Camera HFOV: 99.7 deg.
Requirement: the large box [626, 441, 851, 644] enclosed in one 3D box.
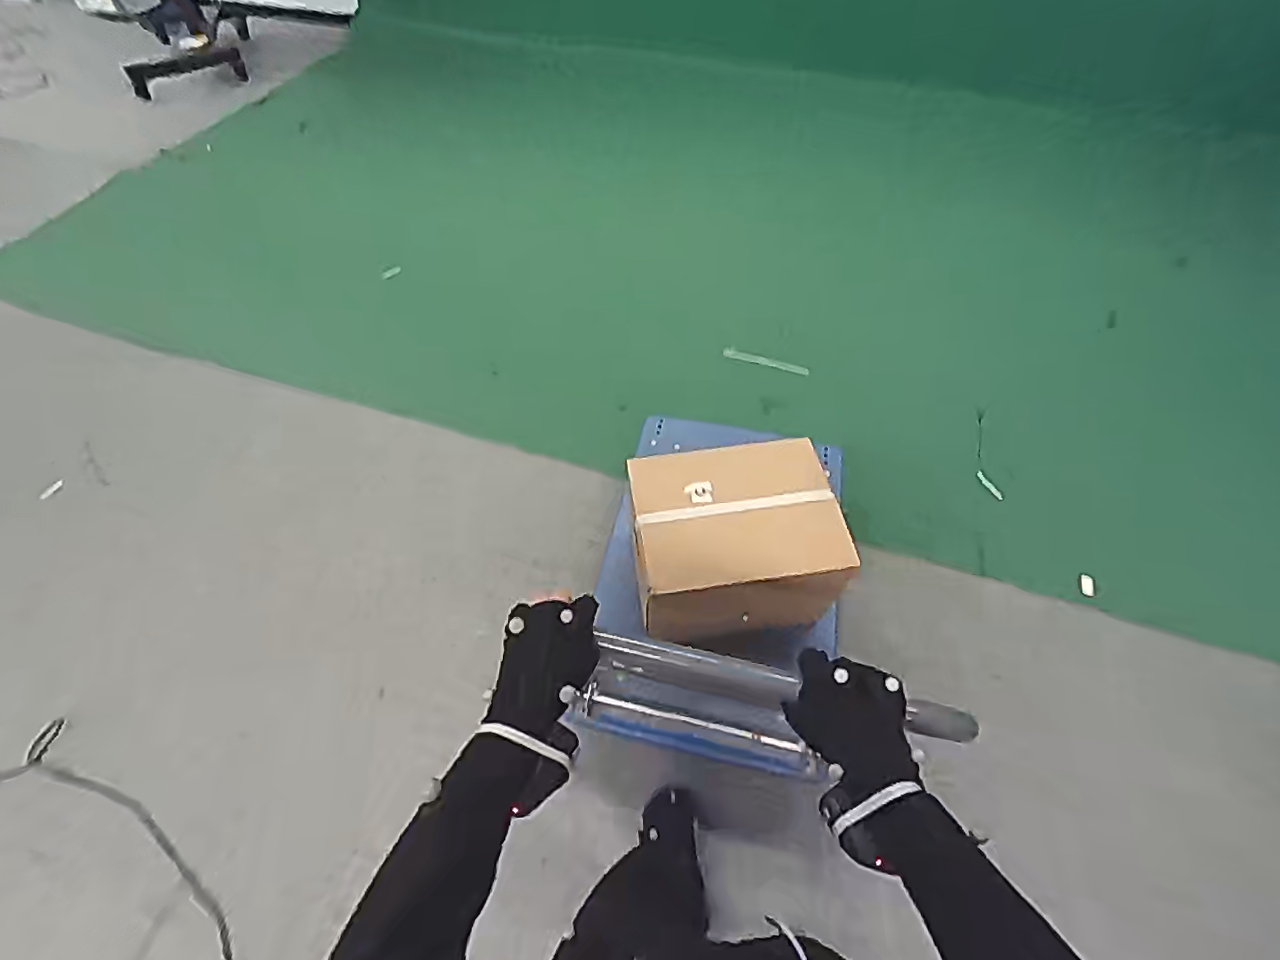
[{"bbox_3d":[0.192,0.149,1.222,0.408,0.320,0.320,-8,56,-4],"label":"large box"}]
